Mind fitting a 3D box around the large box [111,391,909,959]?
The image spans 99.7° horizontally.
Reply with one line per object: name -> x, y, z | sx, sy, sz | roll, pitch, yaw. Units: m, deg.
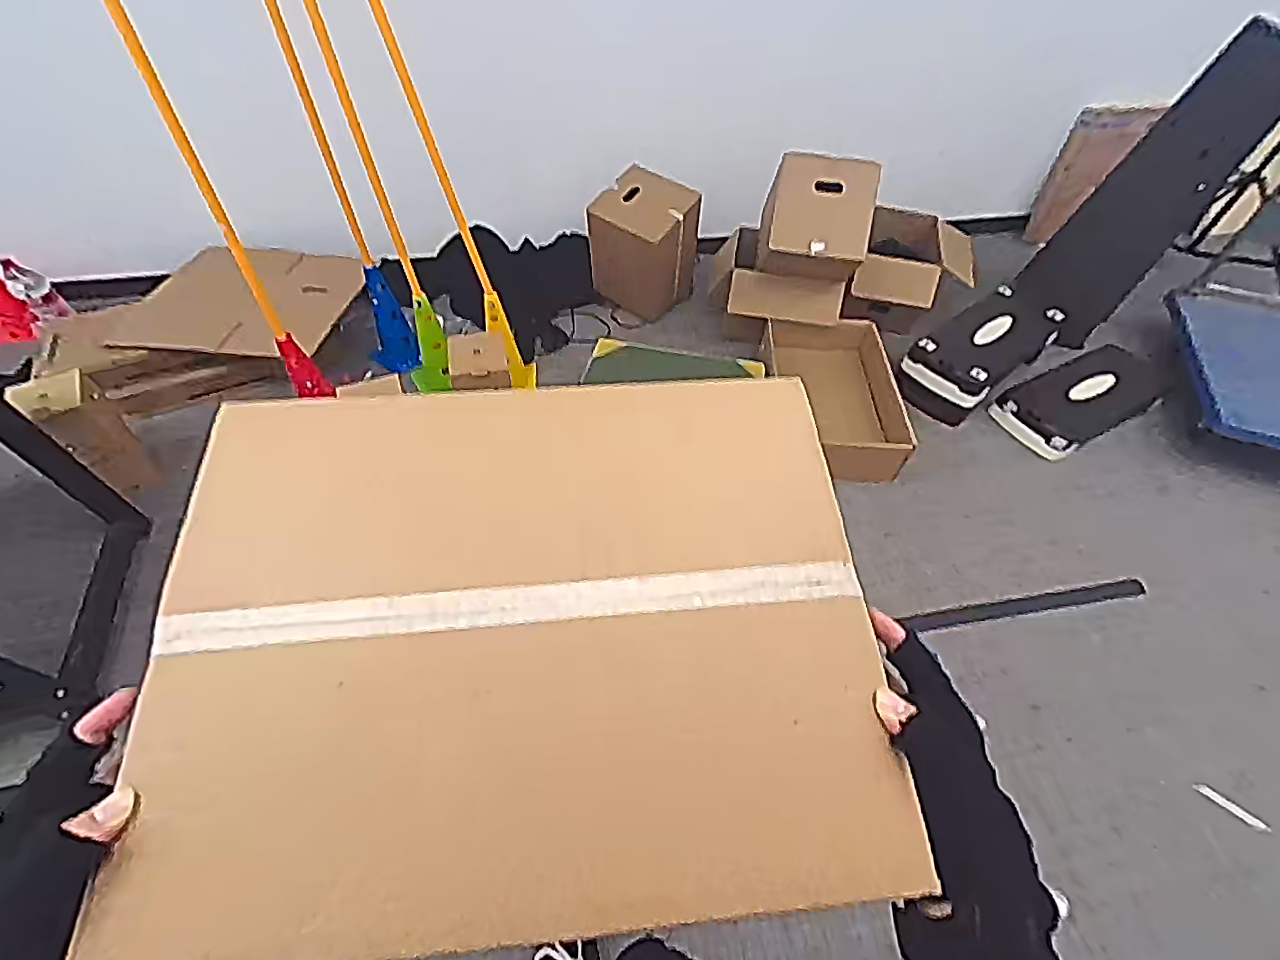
large box -> -0.075, 0.147, 0.467 | 0.408, 0.320, 0.320 | -3, 64, -5
